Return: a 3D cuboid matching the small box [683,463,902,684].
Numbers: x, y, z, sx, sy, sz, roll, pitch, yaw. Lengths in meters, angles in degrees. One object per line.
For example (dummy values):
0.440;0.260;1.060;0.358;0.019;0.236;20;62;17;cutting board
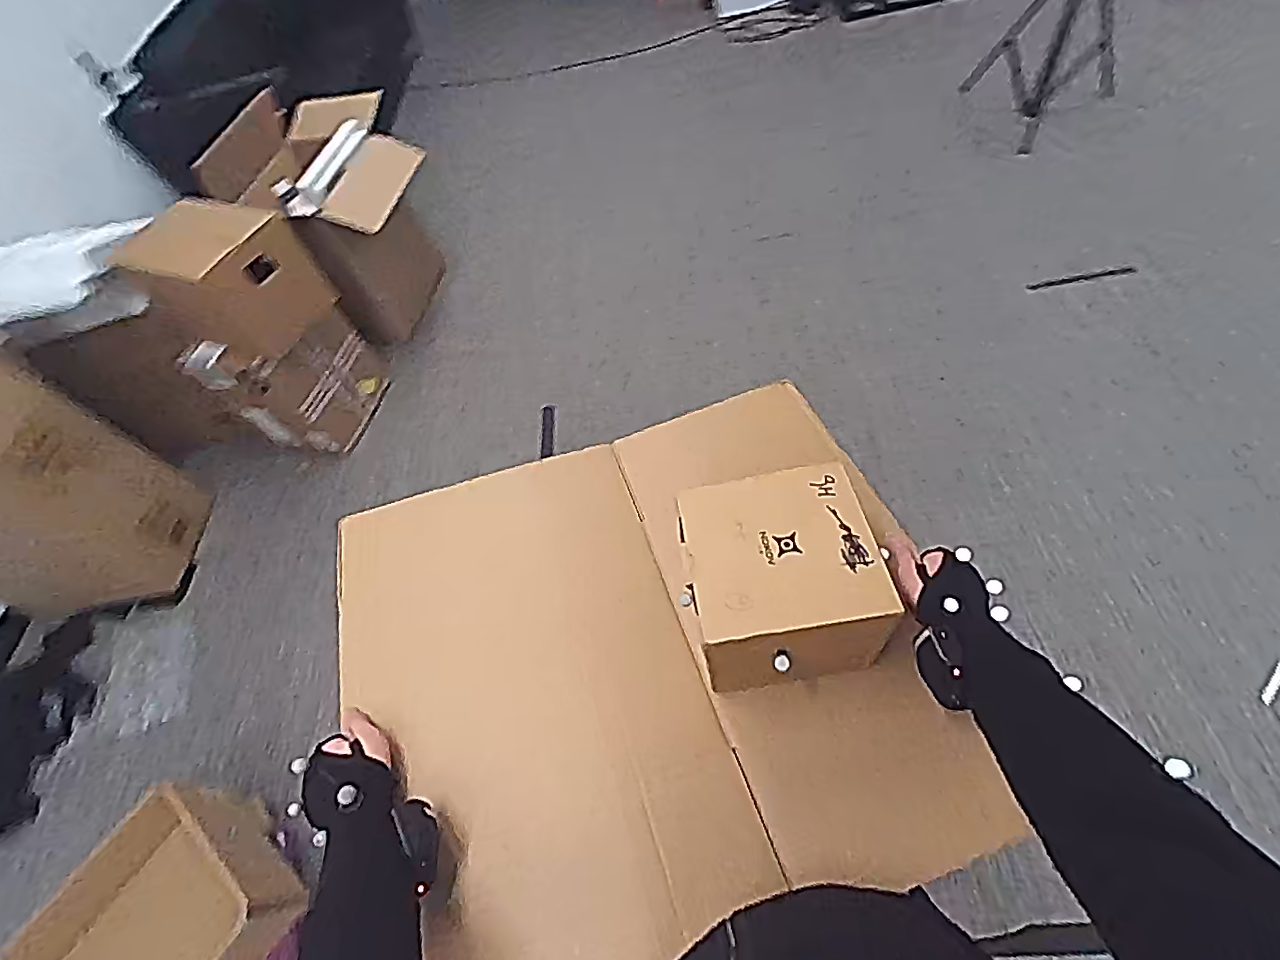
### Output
0.152;0.109;0.584;0.179;0.176;0.168;-10;54;5;small box
